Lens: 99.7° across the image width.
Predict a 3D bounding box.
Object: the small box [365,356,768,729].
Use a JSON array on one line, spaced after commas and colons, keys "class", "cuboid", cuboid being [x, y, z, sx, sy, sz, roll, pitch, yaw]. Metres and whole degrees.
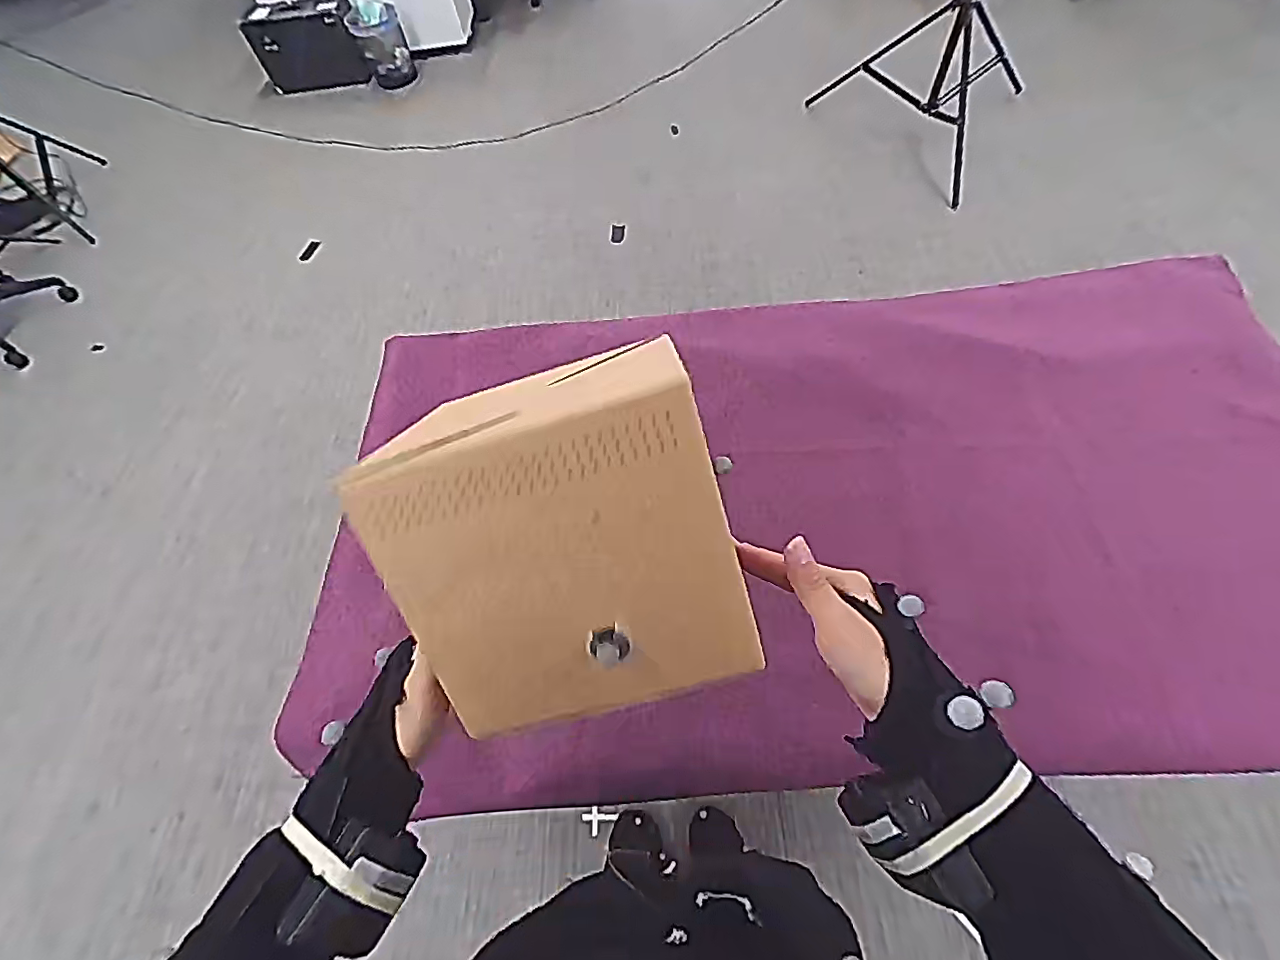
[{"class": "small box", "cuboid": [-0.036, 0.020, 0.354, 0.179, 0.176, 0.168, -16, 16, 5]}]
